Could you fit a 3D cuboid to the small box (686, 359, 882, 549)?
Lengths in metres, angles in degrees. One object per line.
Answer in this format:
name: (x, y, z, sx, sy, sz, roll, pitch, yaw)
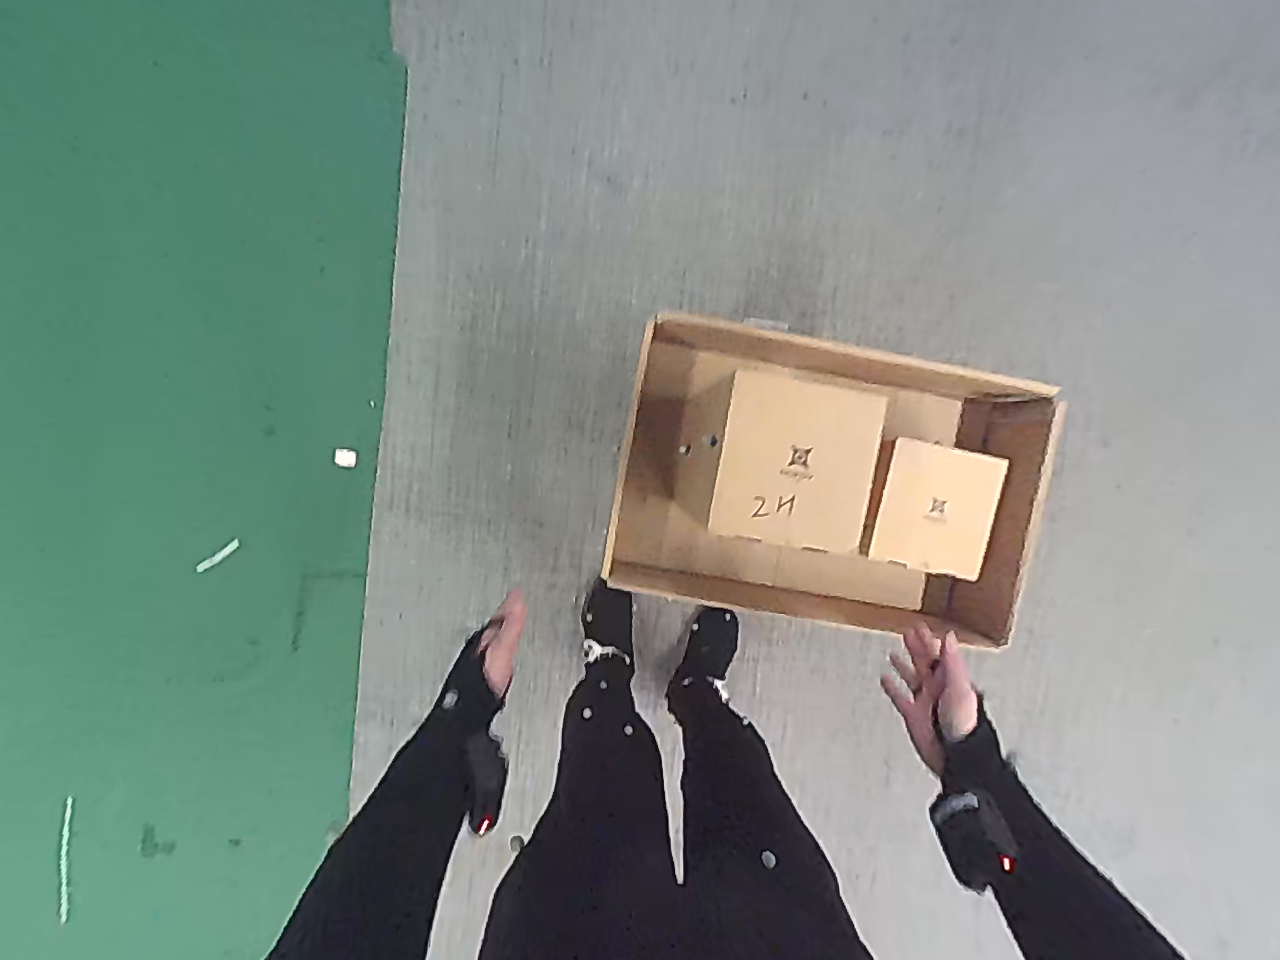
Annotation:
small box: (0.154, -0.030, 0.639, 0.168, 0.176, 0.179, 9, 93, -3)
